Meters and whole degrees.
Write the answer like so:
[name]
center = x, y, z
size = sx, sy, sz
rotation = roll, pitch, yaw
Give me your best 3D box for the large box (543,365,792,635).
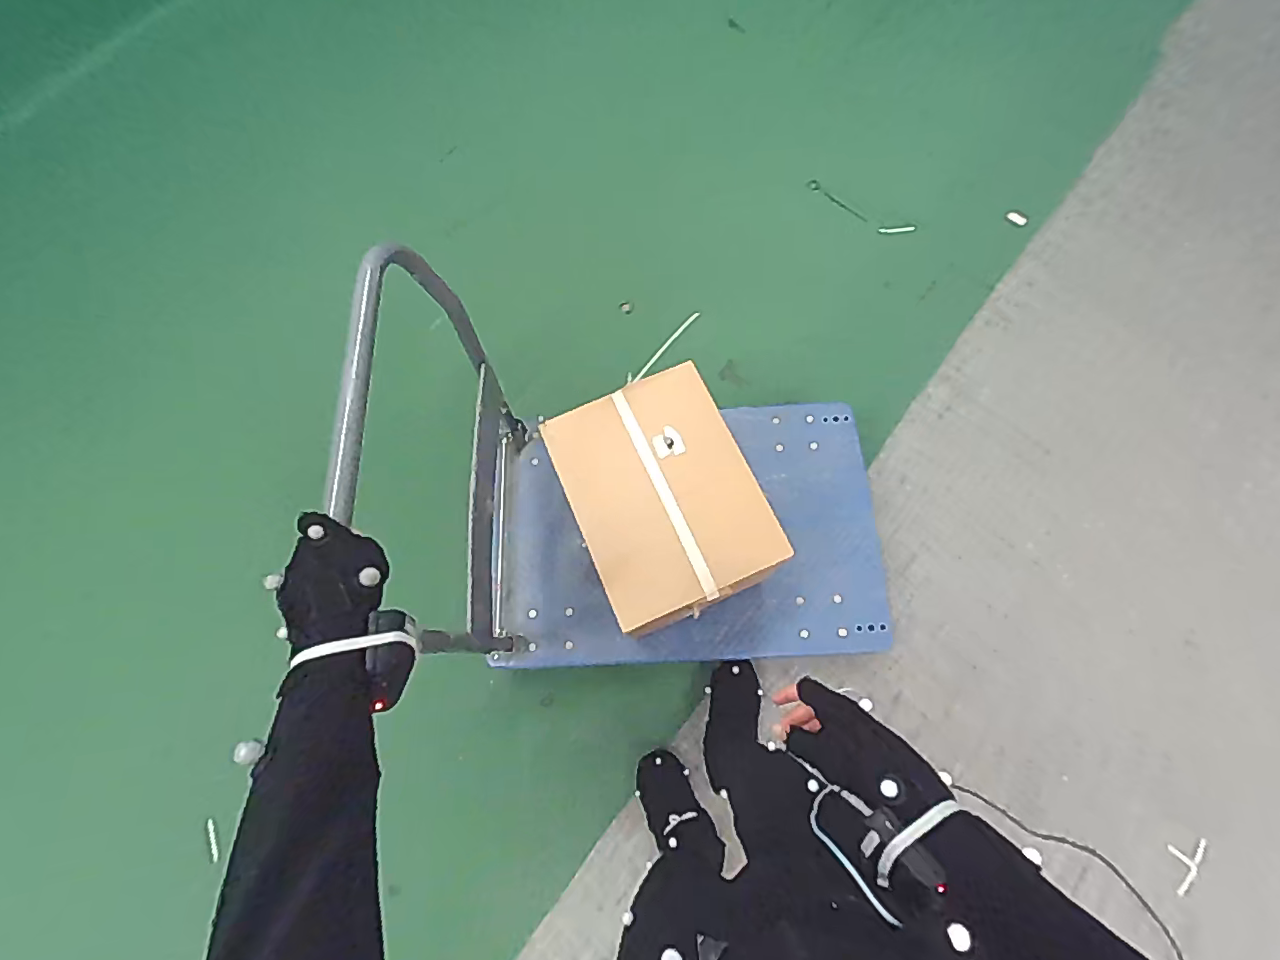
[large box]
center = 0.049, 0.058, 1.085
size = 0.320, 0.320, 0.408
rotation = -23, 71, -4
